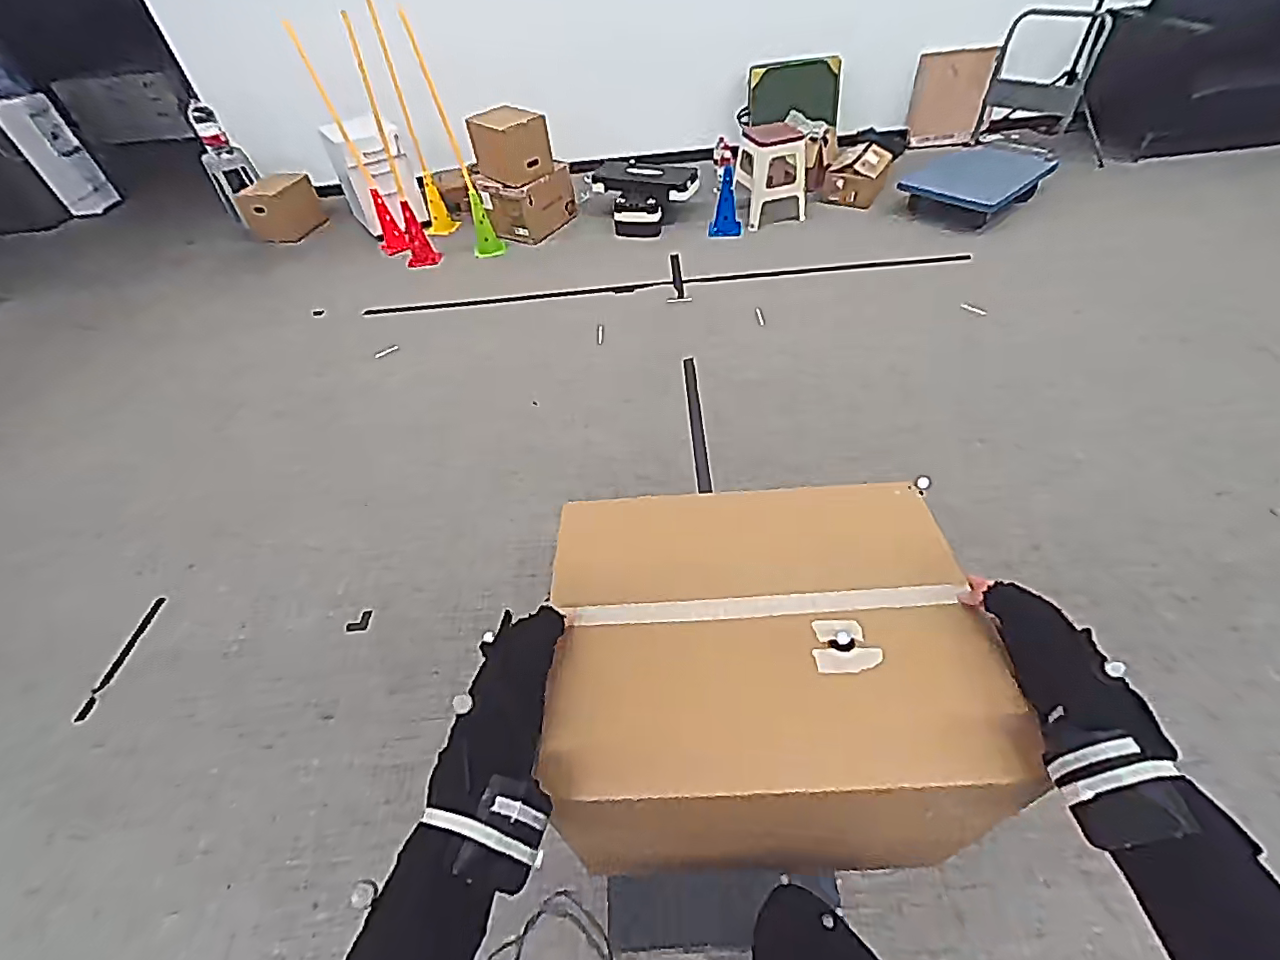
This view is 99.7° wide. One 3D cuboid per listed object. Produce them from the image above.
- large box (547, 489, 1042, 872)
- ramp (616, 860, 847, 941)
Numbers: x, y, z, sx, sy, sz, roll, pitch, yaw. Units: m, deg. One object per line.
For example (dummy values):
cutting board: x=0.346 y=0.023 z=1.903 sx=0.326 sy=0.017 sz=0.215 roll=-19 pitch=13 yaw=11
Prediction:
large box: x=0.127 y=0.237 z=0.638 sx=0.408 sy=0.320 sz=0.320 roll=-4 pitch=45 yaw=3
ramp: x=0.167 y=0.532 z=1.397 sx=0.509 sy=0.206 sz=0.991 roll=-6 pitch=48 yaw=0
